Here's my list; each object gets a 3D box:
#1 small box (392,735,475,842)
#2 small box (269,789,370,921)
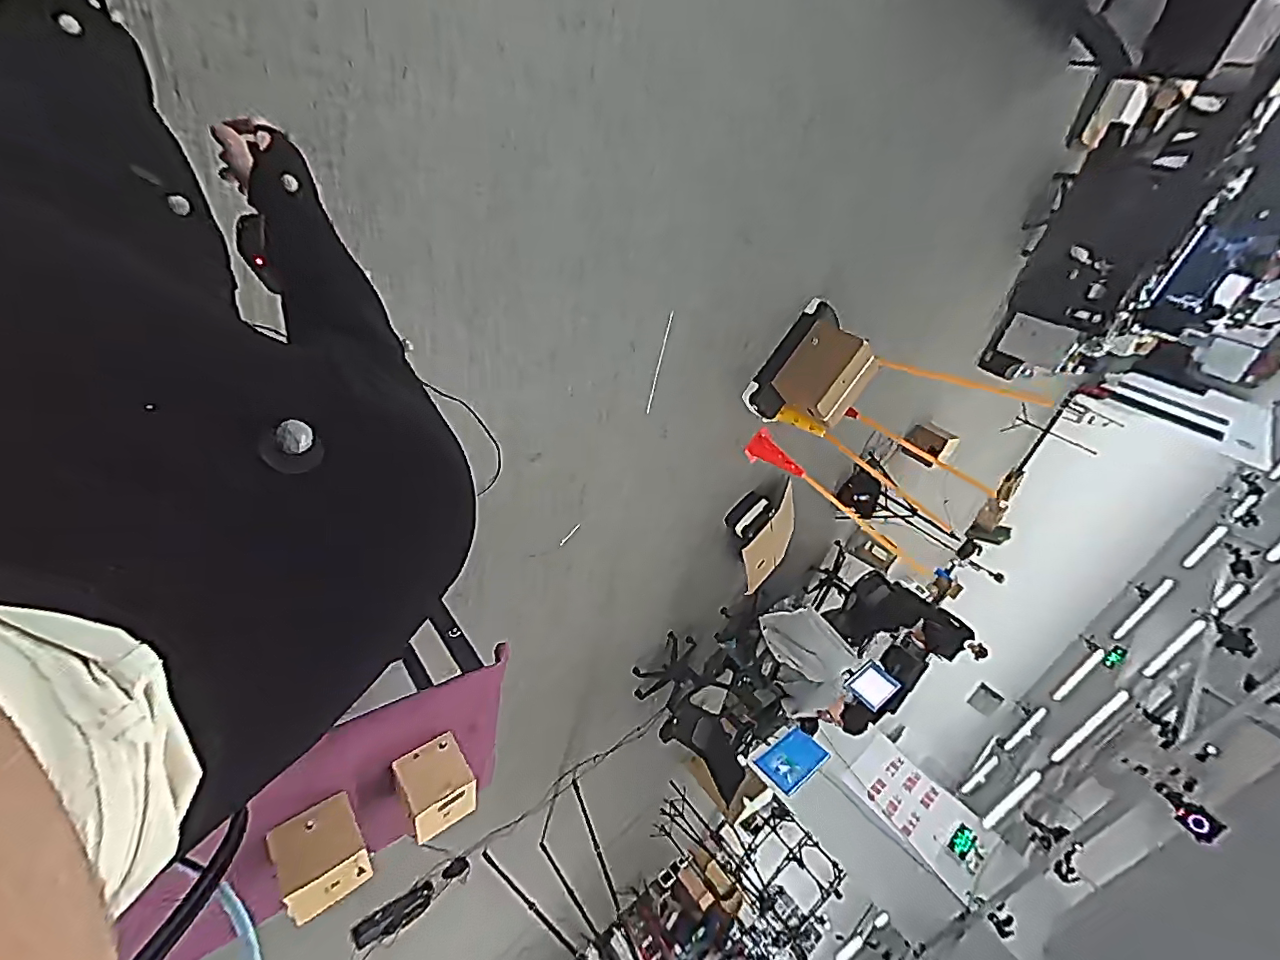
[{"bbox_3d":[-0.574,0.844,1.500,0.168,0.176,0.179,-18,135,-37],"label":"small box"},{"bbox_3d":[-0.790,0.916,1.332,0.179,0.176,0.168,-18,134,-37],"label":"small box"}]
